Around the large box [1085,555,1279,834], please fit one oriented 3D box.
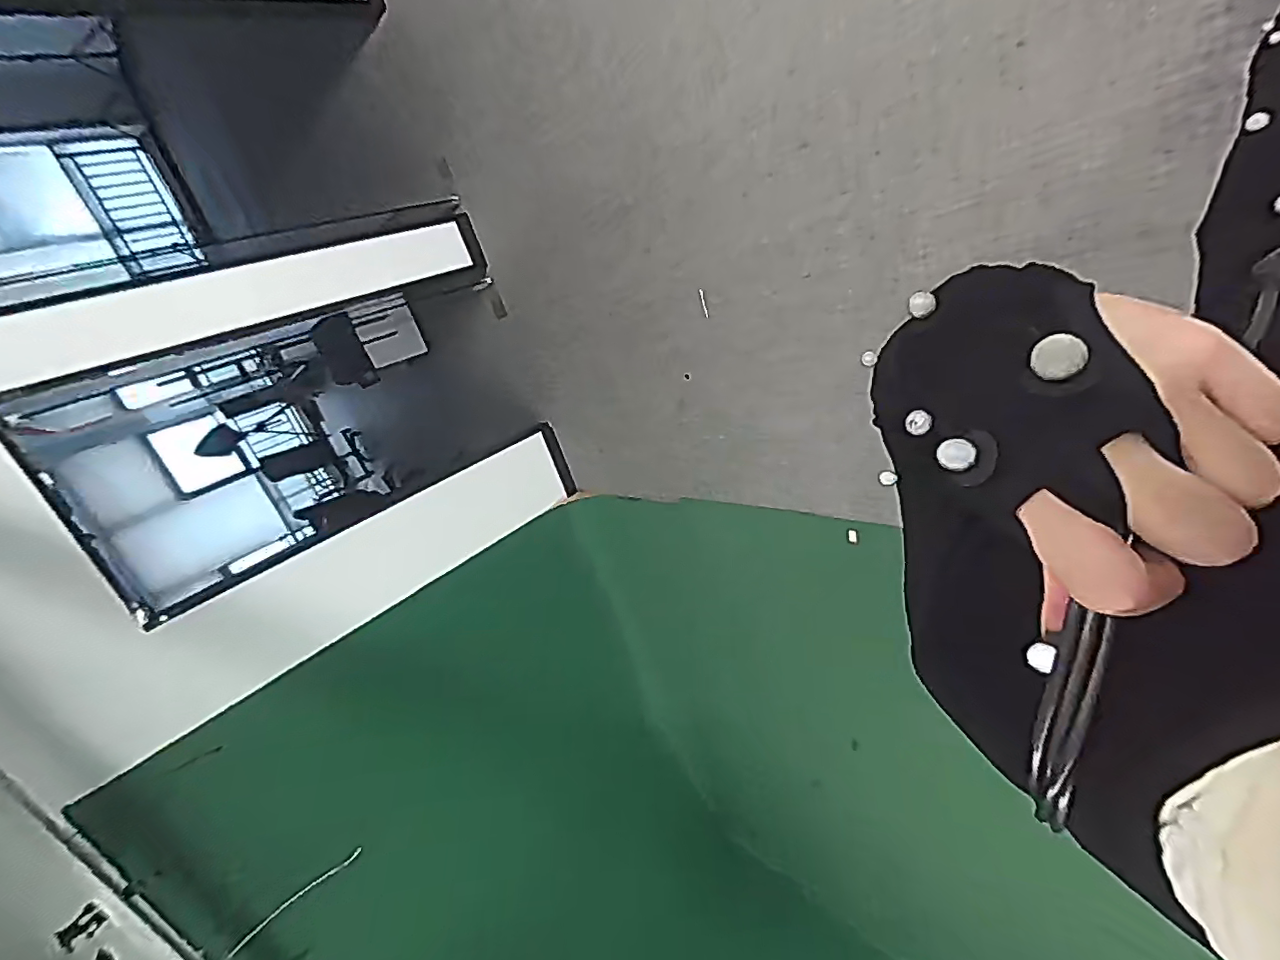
[{"bbox_3d":[1.179,0.425,1.152,0.320,0.320,0.408,9,124,47],"label":"large box"}]
